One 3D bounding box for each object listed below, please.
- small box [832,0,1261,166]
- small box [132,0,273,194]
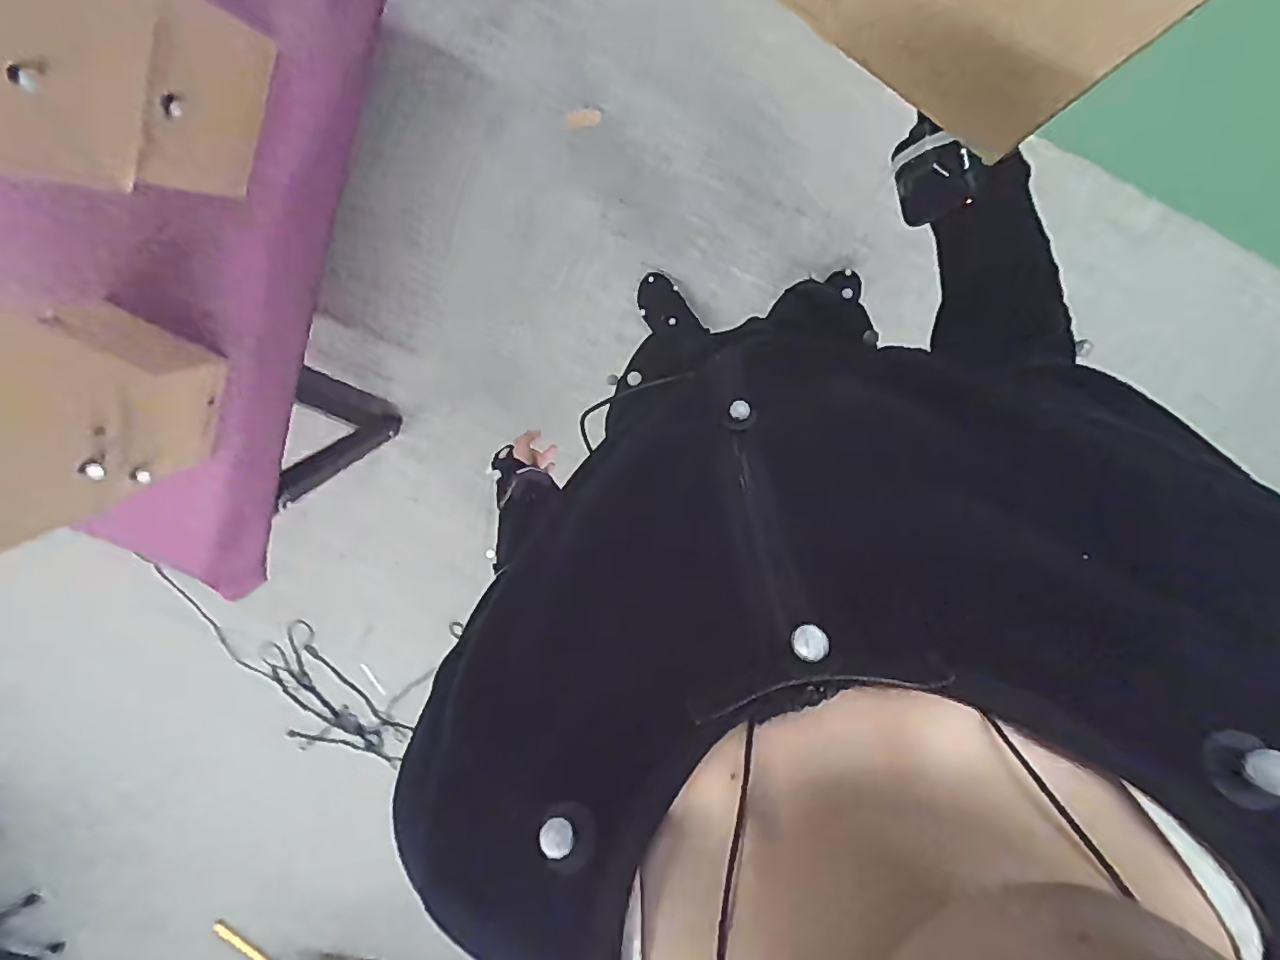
[{"bbox_3d":[0.182,-0.287,0.218,0.176,0.179,0.168,19,70,-21],"label":"small box"},{"bbox_3d":[-0.514,-0.417,0.544,0.168,0.176,0.179,26,110,-7],"label":"small box"}]
